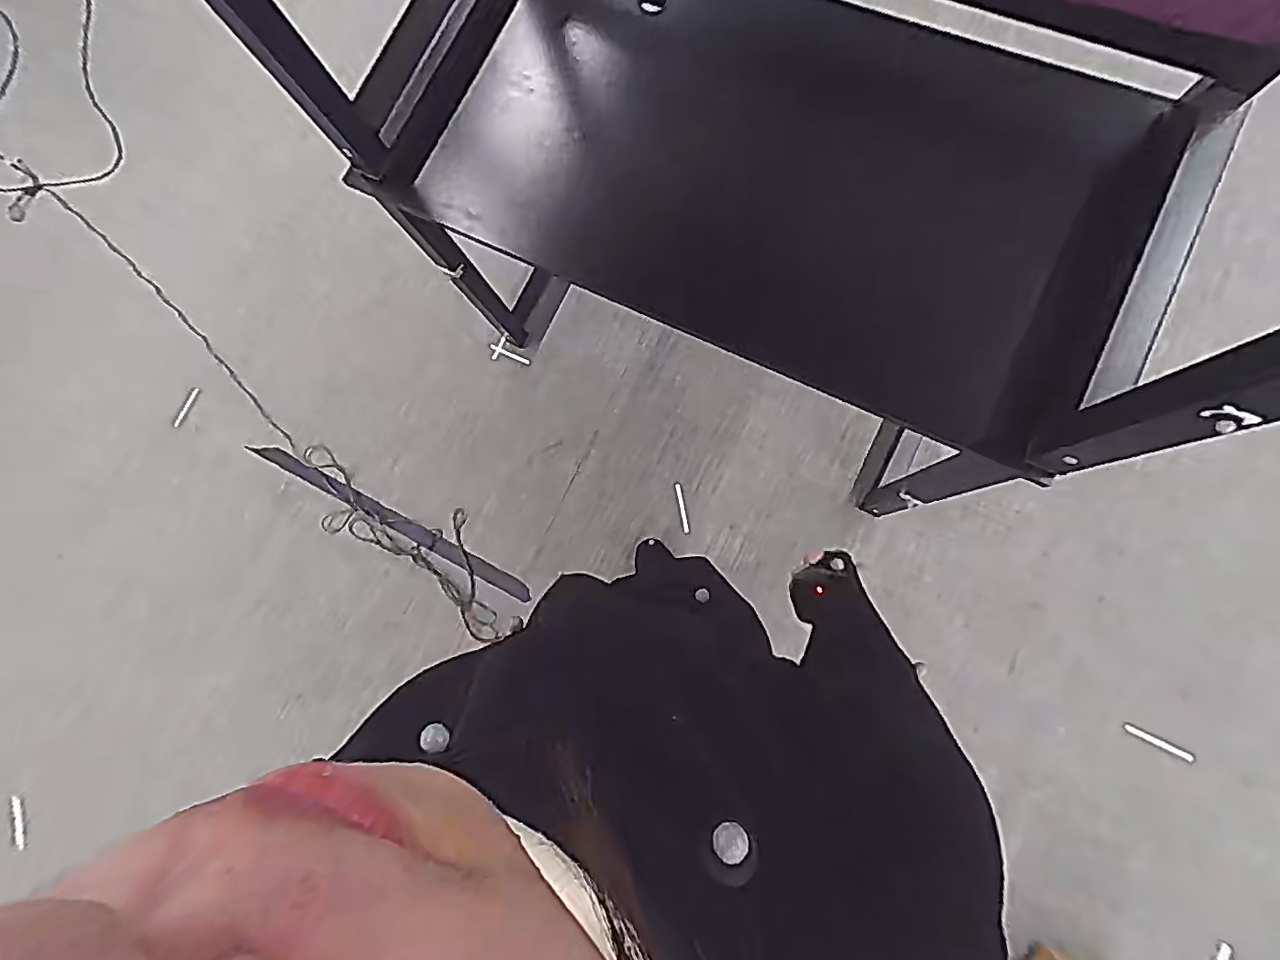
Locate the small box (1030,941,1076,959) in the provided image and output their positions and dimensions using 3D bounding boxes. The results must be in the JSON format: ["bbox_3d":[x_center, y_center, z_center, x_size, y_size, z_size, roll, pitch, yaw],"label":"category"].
[{"bbox_3d":[0.954,1.175,1.168,0.168,0.176,0.179,28,87,10],"label":"small box"}]
